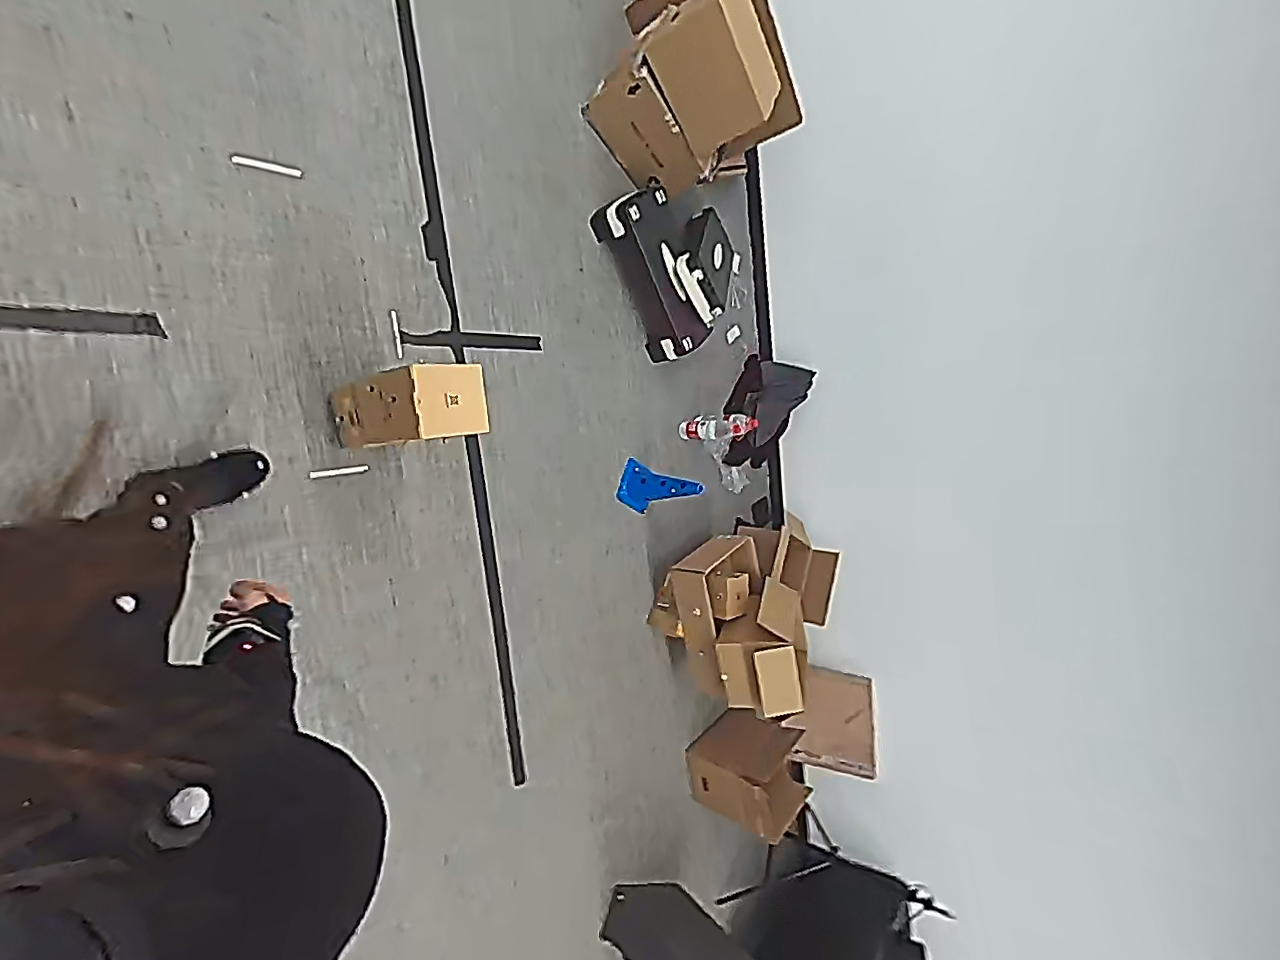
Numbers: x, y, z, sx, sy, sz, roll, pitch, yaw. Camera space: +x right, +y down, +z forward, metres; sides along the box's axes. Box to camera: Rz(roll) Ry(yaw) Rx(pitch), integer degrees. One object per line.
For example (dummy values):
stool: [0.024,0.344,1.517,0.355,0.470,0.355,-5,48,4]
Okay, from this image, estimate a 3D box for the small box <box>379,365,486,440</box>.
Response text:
small box: [-0.497,-0.184,1.295,0.179,0.176,0.168,-13,101,-46]

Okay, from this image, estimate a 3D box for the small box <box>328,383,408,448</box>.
small box: [-0.740,-0.185,1.515,0.179,0.176,0.168,-17,103,-45]
